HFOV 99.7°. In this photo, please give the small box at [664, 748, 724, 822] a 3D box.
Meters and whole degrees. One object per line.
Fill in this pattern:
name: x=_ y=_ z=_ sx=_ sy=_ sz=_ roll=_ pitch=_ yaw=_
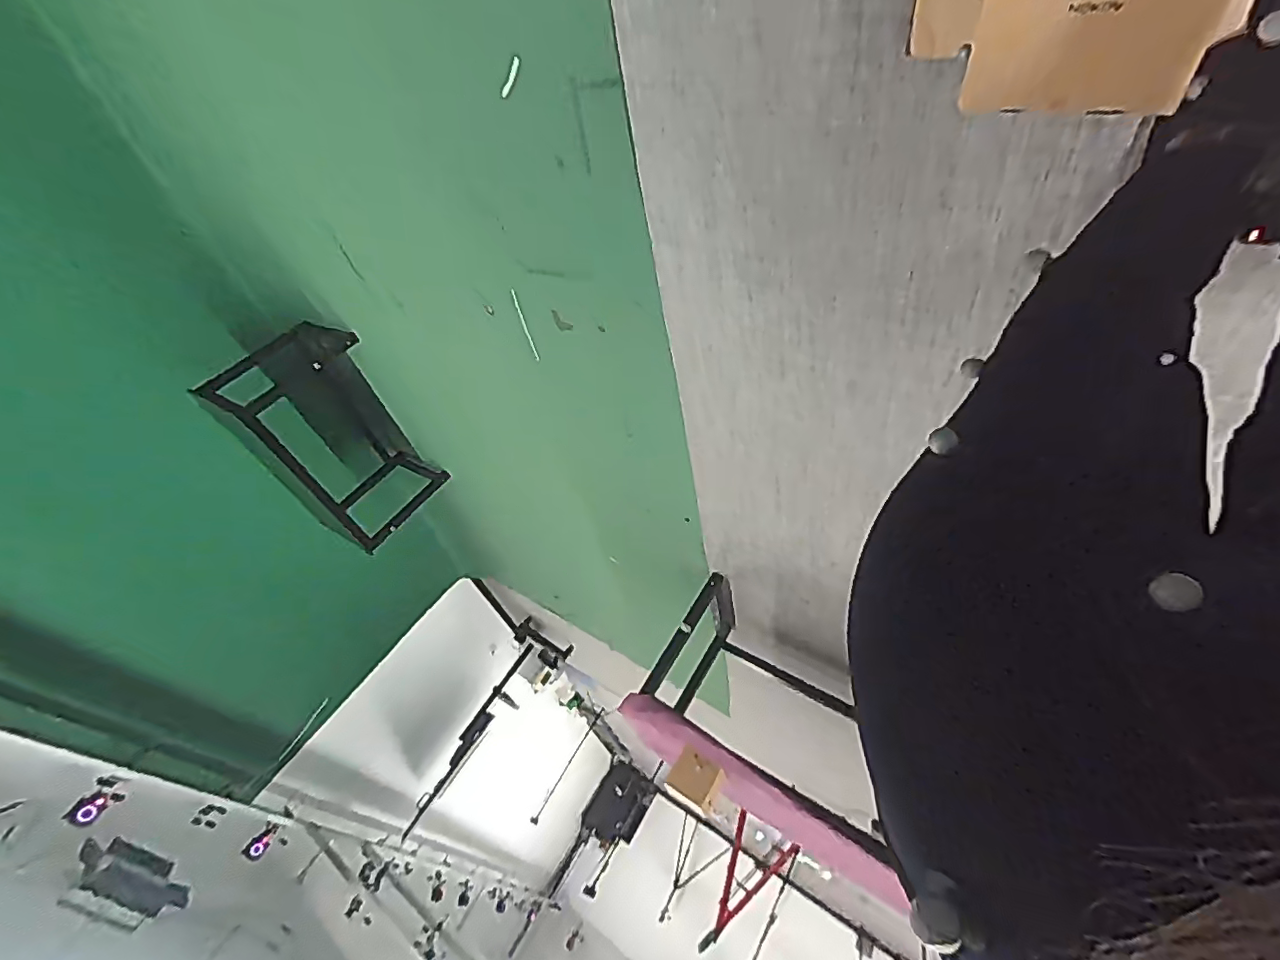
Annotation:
small box: x=0.216 y=1.174 z=2.087 sx=0.168 sy=0.176 sz=0.179 roll=20 pitch=146 yaw=29
